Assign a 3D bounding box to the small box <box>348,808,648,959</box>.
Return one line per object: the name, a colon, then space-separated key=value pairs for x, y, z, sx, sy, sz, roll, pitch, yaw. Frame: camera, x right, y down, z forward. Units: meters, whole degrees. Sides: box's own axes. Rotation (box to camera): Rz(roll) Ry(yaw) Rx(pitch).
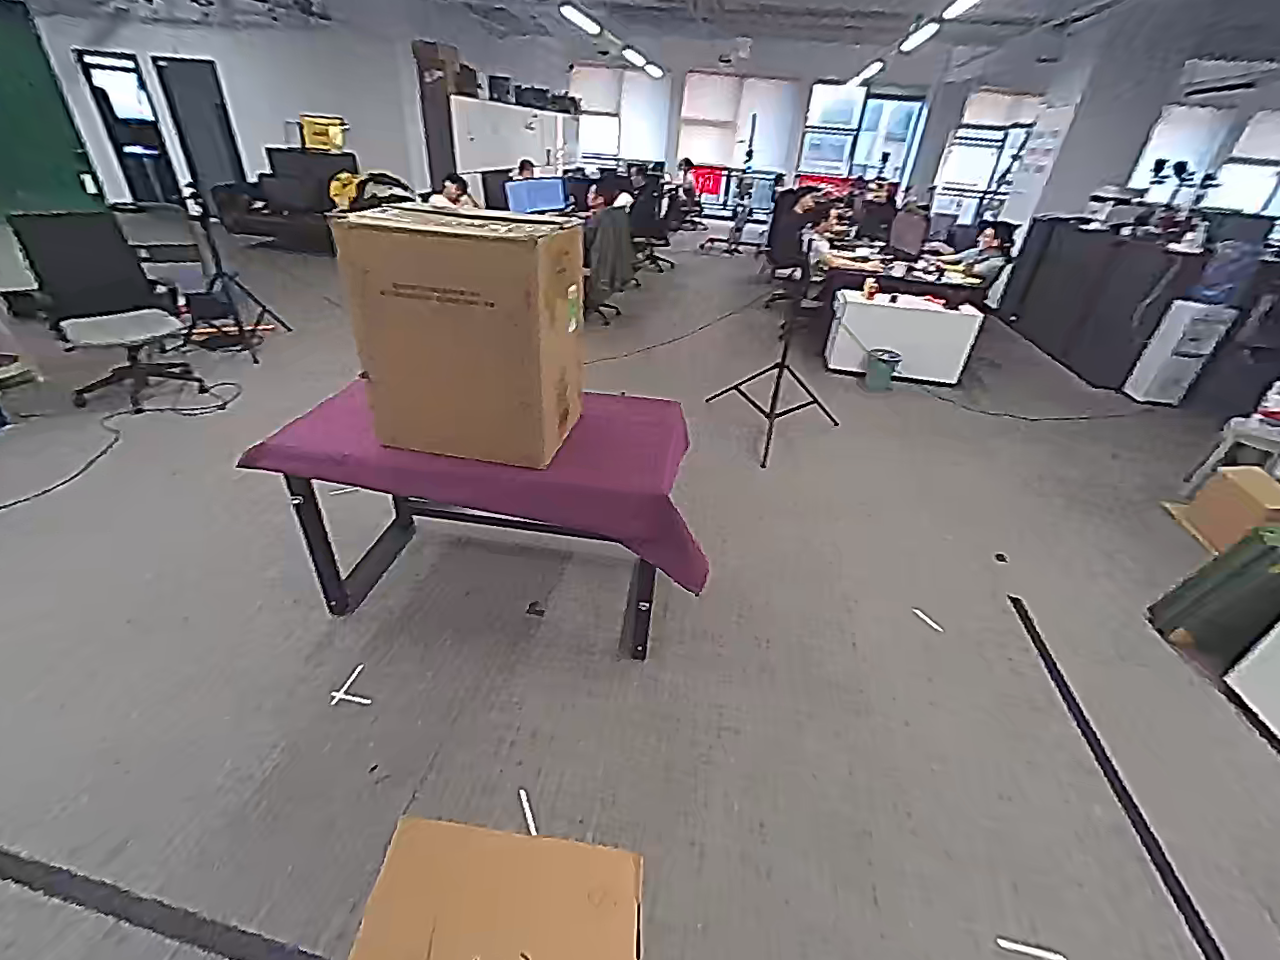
small box: x=-0.099 y=0.352 z=0.357 sx=0.179 sy=0.176 sz=0.168 roll=11 pitch=33 yaw=-6
